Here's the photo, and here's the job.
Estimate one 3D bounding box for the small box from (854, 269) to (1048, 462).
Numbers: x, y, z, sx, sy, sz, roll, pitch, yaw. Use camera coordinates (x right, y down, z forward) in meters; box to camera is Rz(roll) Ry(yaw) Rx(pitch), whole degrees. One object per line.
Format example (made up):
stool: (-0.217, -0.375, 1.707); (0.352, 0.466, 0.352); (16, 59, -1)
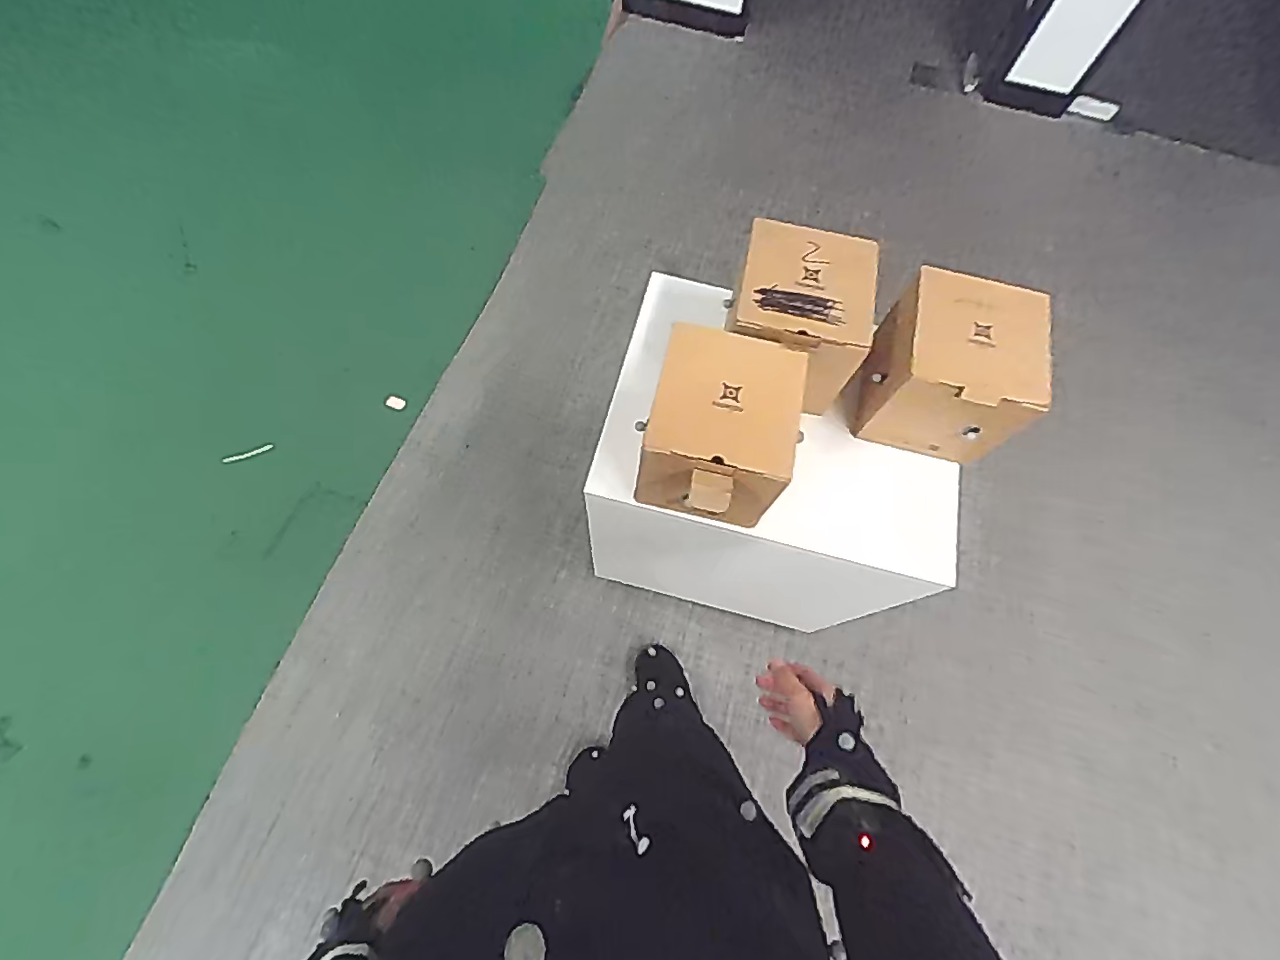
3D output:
small box: (0.407, -0.144, 0.730); (0.168, 0.176, 0.179); (14, 68, 2)

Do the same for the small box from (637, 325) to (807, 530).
small box: (0.094, -0.057, 0.678); (0.168, 0.176, 0.179); (13, 67, 1)
